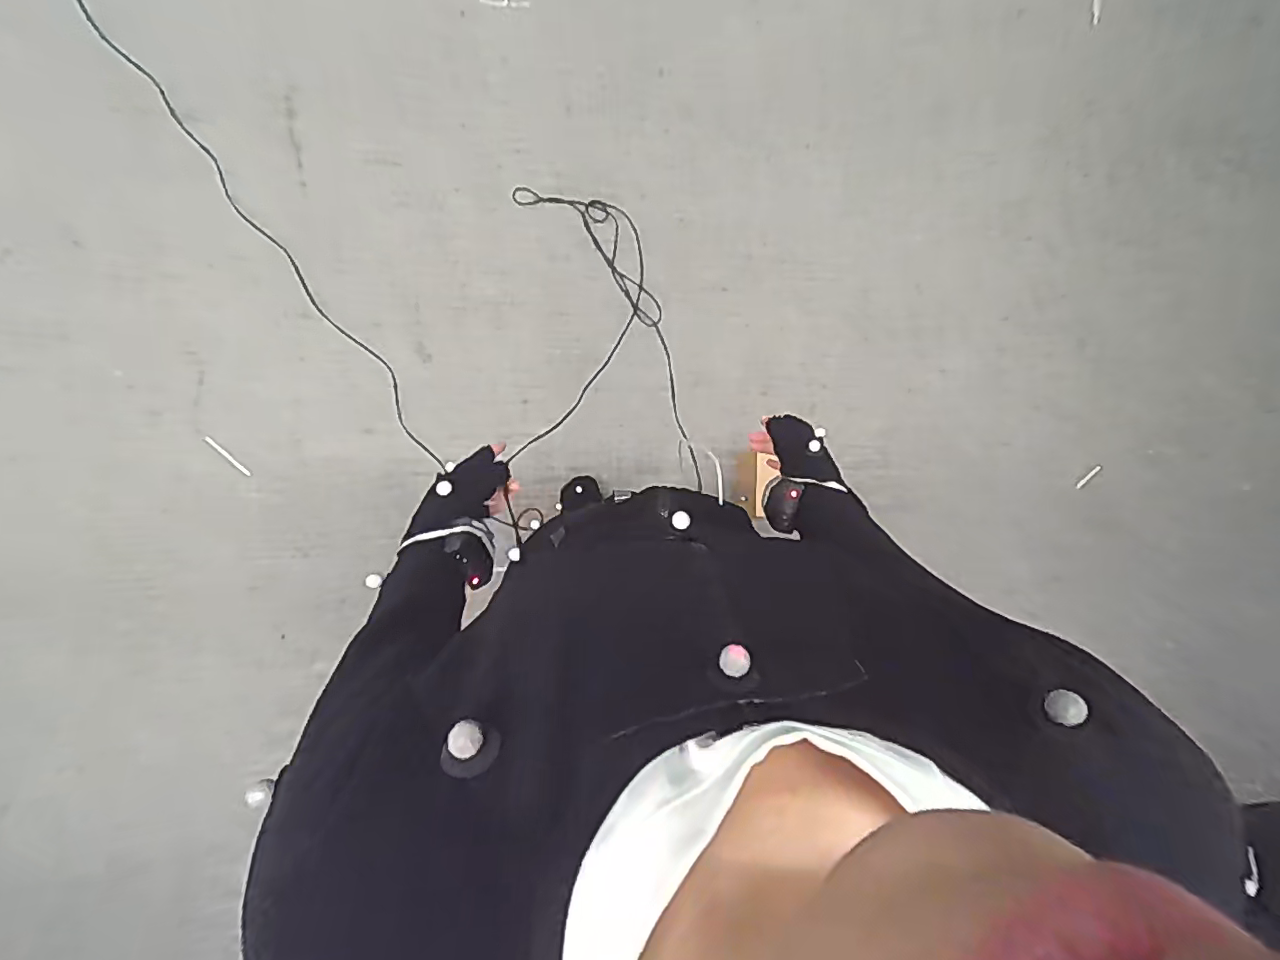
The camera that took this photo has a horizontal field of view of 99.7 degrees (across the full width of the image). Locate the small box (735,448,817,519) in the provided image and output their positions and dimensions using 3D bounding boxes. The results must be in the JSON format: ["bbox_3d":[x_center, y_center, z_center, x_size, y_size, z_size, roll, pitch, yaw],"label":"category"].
[{"bbox_3d":[0.357,0.008,1.446,0.168,0.176,0.179,2,90,-7],"label":"small box"}]
